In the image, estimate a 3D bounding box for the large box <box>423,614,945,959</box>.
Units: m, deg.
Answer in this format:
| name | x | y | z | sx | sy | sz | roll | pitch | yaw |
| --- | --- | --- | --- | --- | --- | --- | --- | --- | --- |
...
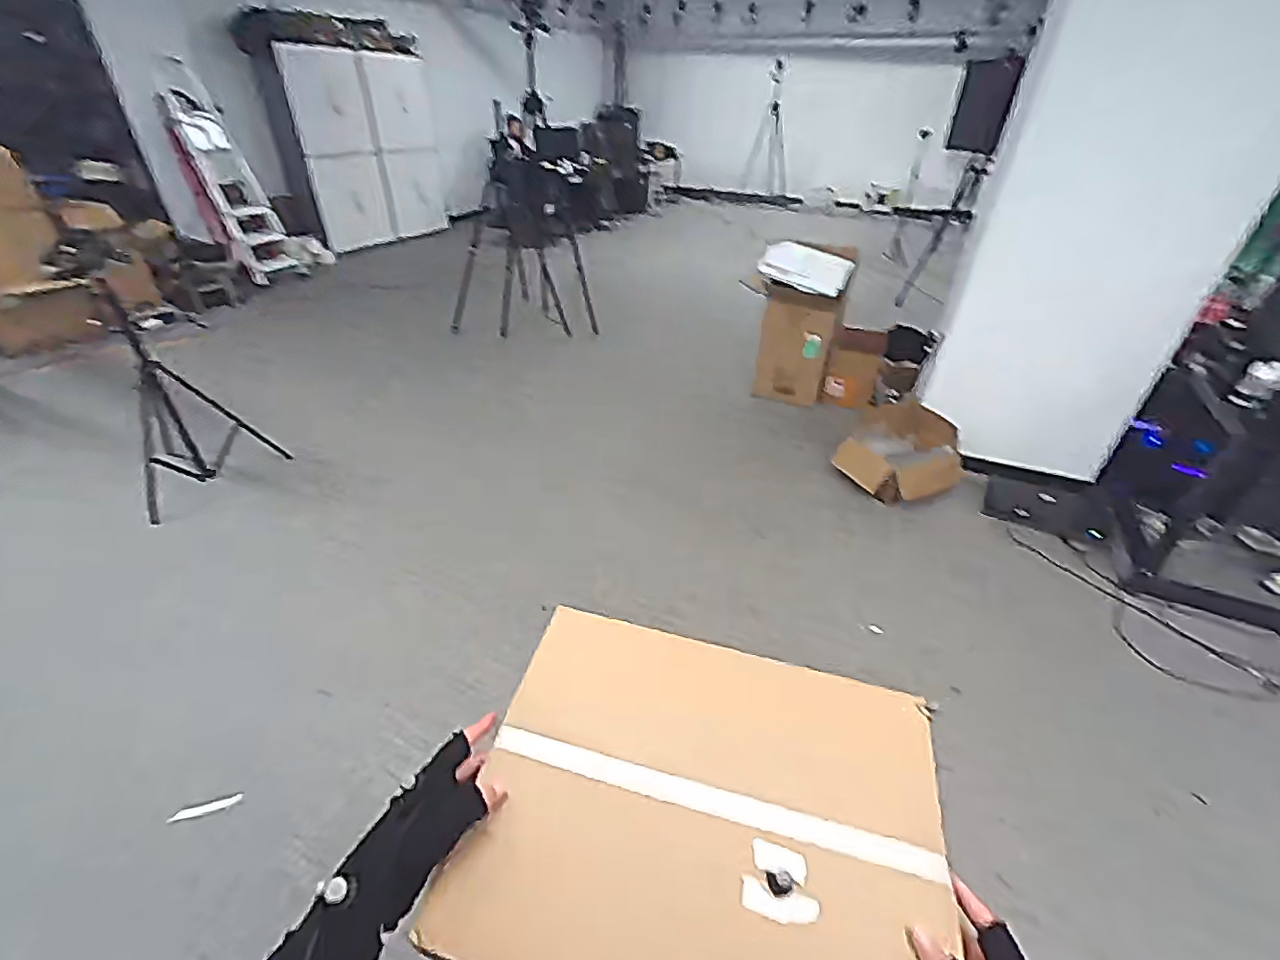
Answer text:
| name | x | y | z | sx | sy | sz | roll | pitch | yaw |
| --- | --- | --- | --- | --- | --- | --- | --- | --- | --- |
| large box | 0.050 | 0.400 | 0.590 | 0.408 | 0.320 | 0.320 | 12 | 43 | 9 |
